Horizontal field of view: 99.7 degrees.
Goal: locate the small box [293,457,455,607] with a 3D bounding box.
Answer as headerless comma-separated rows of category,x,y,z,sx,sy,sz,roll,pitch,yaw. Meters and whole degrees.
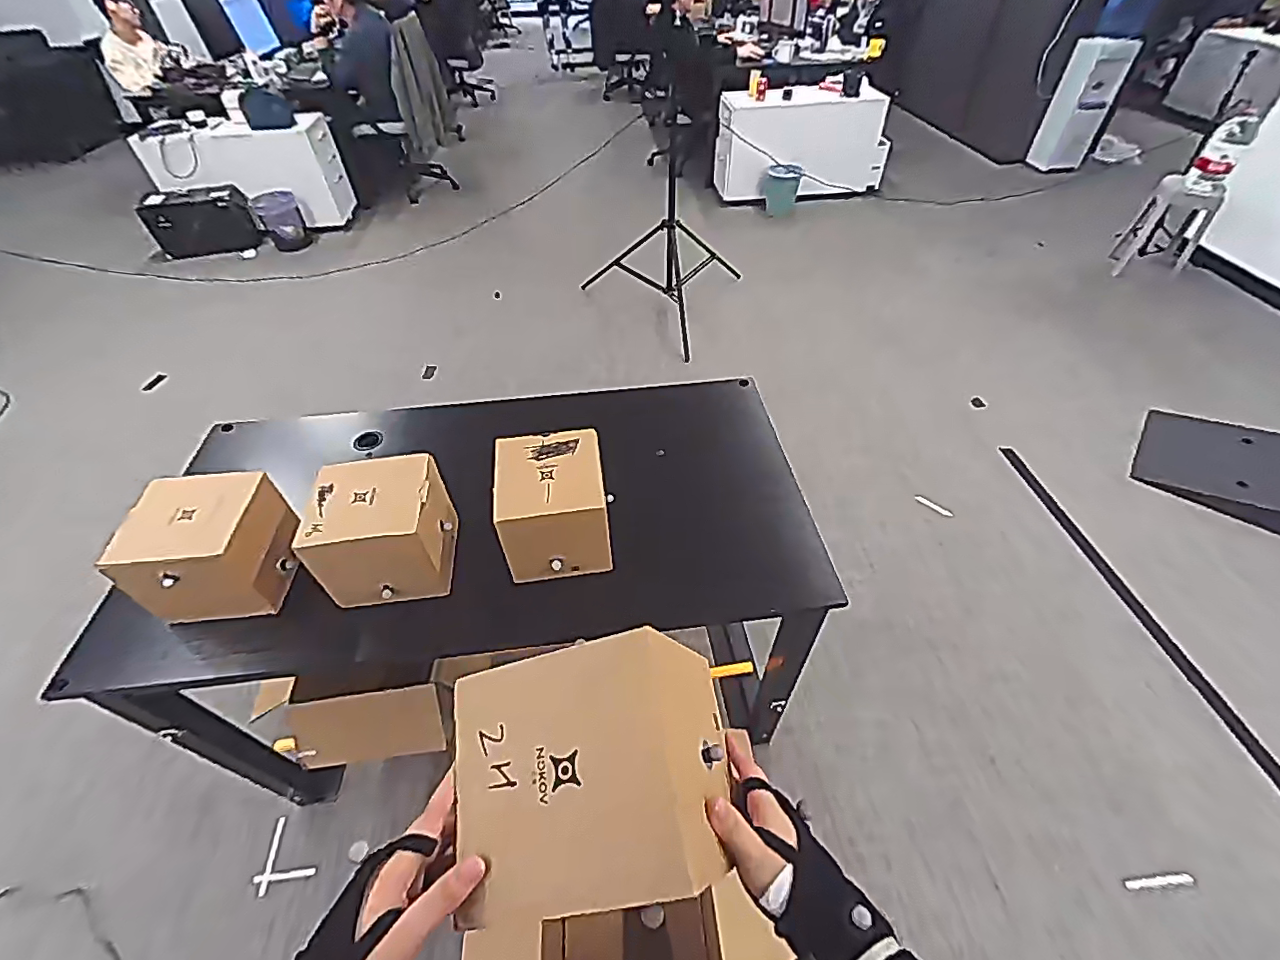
small box,-0.407,0.085,0.867,0.179,0.176,0.168,-6,47,-6

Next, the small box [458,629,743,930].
small box,-0.024,0.236,0.442,0.179,0.176,0.168,-19,58,14

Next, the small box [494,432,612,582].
small box,-0.139,0.045,0.897,0.168,0.176,0.179,-7,47,-5

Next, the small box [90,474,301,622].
small box,-0.669,0.110,0.850,0.179,0.176,0.168,-4,47,-3
